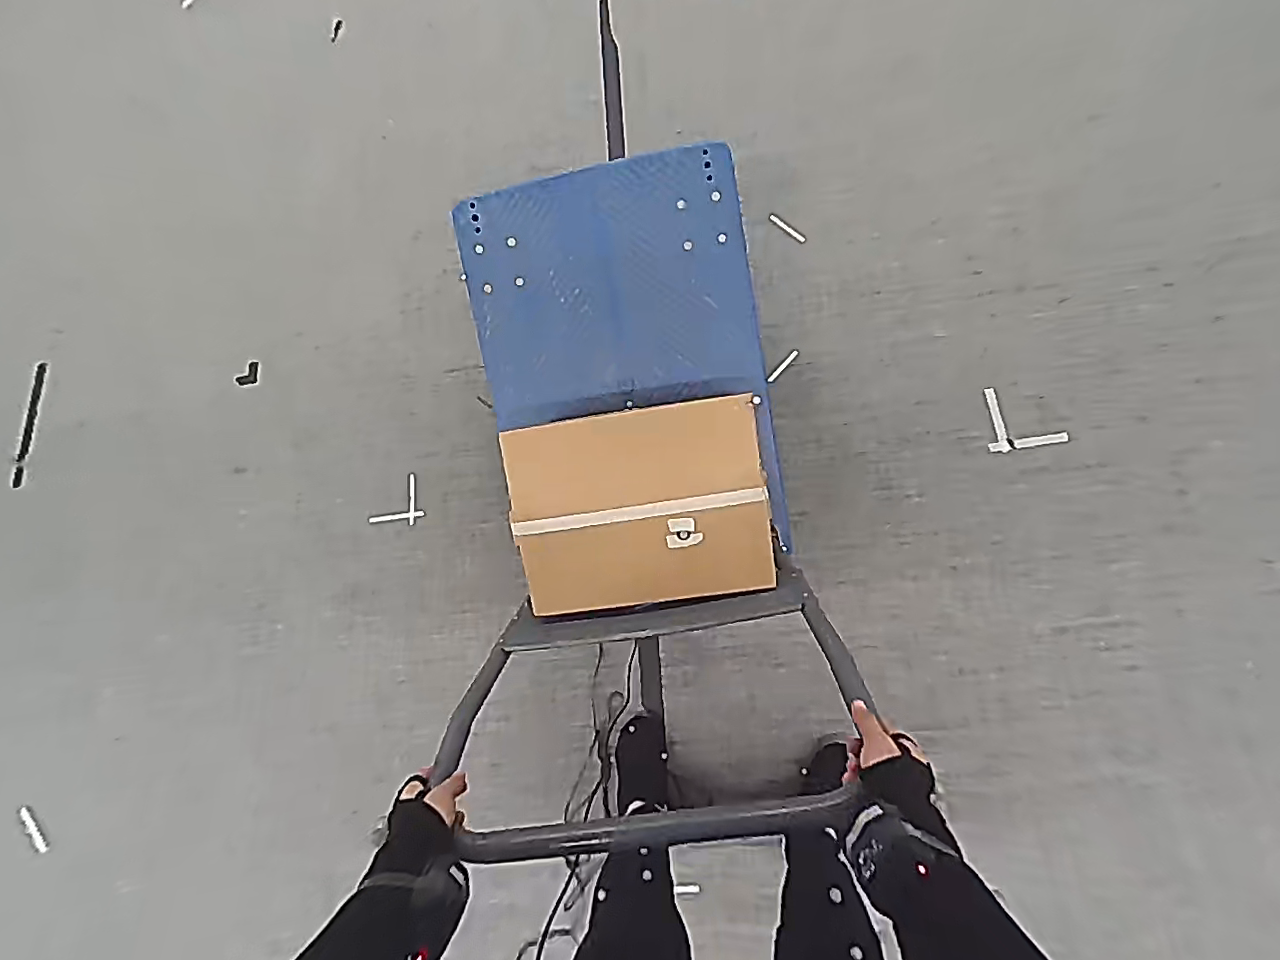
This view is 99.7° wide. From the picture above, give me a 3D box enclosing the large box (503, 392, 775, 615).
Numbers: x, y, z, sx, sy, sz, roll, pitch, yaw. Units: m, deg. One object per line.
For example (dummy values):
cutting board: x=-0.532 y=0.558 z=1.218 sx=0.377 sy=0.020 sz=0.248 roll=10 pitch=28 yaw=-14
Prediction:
large box: x=0.005 y=0.025 z=1.021 sx=0.408 sy=0.320 sz=0.320 roll=-9 pitch=99 yaw=4
